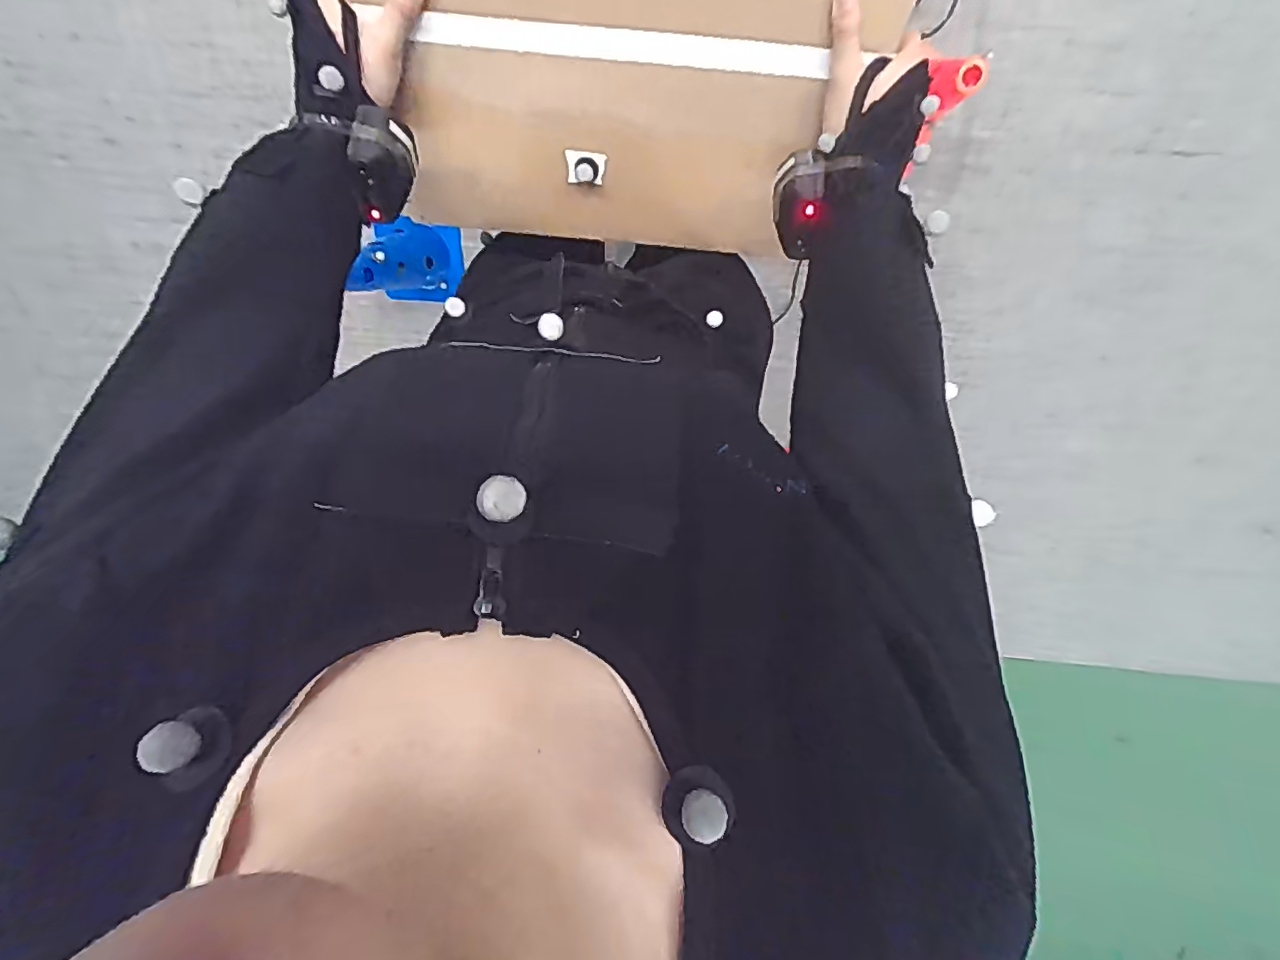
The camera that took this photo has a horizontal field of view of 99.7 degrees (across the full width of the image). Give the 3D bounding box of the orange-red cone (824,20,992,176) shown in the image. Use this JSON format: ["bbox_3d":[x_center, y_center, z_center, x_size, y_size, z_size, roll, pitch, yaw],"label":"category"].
[{"bbox_3d":[0.457,-0.618,0.855,0.199,0.360,0.198,22,119,-7],"label":"orange-red cone"}]

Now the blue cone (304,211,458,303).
[{"bbox_3d":[-0.528,-0.427,1.084,0.192,0.380,0.193,6,118,3],"label":"blue cone"}]
